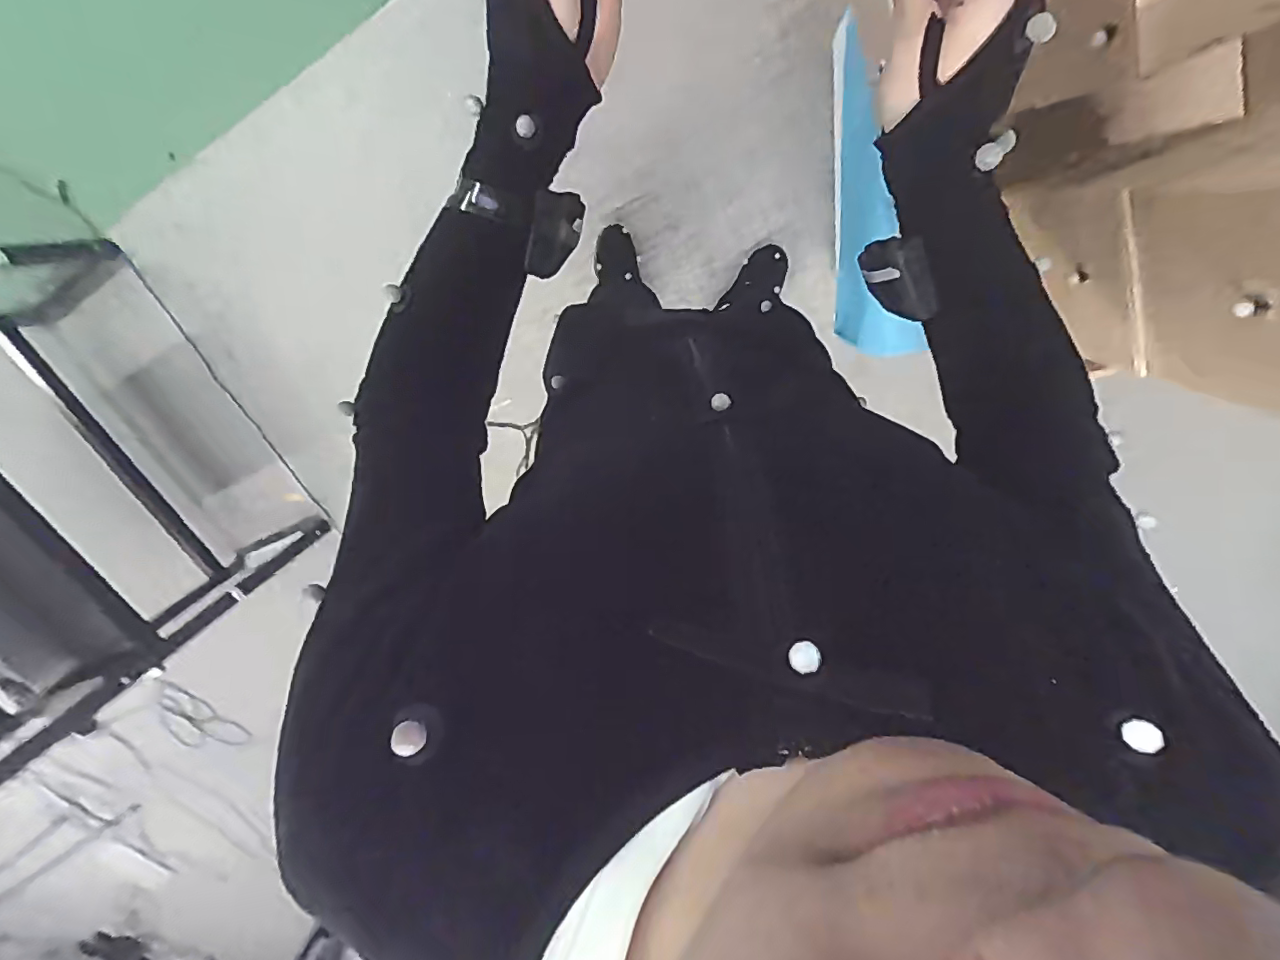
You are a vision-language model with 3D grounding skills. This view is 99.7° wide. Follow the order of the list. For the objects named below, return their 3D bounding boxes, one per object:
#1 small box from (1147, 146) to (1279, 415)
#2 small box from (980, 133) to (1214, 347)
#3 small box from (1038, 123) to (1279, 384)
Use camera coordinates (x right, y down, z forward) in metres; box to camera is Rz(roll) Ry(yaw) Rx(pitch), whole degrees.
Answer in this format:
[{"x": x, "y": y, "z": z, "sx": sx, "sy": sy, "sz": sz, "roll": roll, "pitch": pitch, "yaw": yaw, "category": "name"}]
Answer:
[{"x": 0.499, "y": -0.150, "z": 0.371, "sx": 0.168, "sy": 0.176, "sz": 0.179, "roll": -18, "pitch": 110, "yaw": 18, "category": "small box"}, {"x": 0.547, "y": -0.285, "z": 0.665, "sx": 0.168, "sy": 0.176, "sz": 0.179, "roll": -17, "pitch": 110, "yaw": 18, "category": "small box"}, {"x": 0.521, "y": -0.217, "z": 0.518, "sx": 0.168, "sy": 0.176, "sz": 0.179, "roll": -18, "pitch": 109, "yaw": 18, "category": "small box"}]
